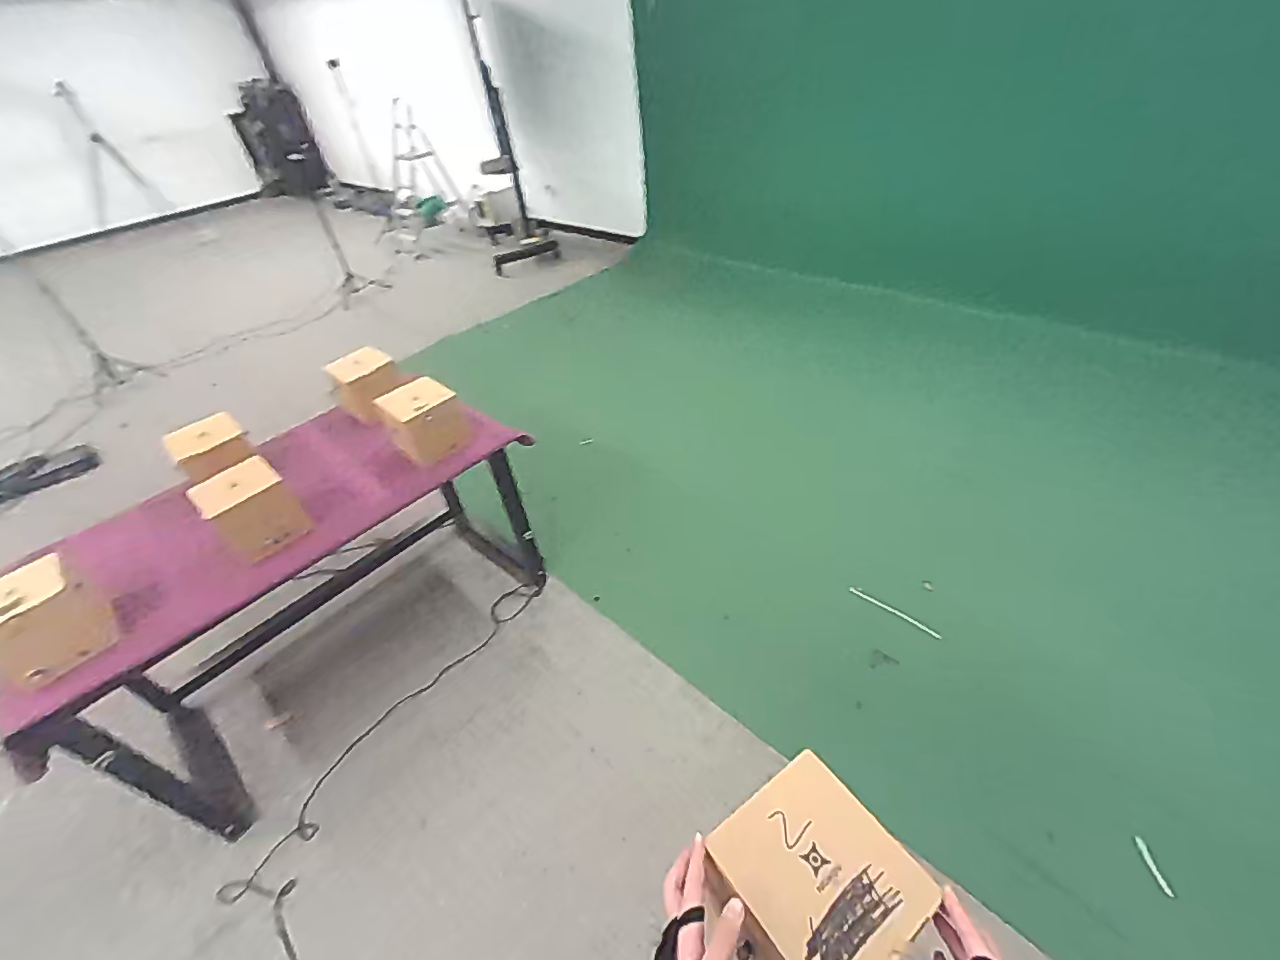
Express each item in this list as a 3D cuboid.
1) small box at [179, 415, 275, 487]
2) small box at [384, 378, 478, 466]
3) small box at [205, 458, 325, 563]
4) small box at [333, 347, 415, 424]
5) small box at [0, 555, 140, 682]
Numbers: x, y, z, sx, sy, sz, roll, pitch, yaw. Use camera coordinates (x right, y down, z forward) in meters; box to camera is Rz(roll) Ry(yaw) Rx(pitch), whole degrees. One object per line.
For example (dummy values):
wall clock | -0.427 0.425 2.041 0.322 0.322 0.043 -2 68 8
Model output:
small box | -1.168 -0.056 1.555 0.179 0.176 0.168 31 54 34
small box | -0.604 -0.168 1.578 0.179 0.176 0.168 30 55 35
small box | -0.940 0.079 1.363 0.179 0.176 0.168 27 53 35
small box | -0.861 -0.308 1.780 0.179 0.176 0.168 28 56 33
small box | -1.227 0.300 1.157 0.179 0.176 0.168 27 52 36
